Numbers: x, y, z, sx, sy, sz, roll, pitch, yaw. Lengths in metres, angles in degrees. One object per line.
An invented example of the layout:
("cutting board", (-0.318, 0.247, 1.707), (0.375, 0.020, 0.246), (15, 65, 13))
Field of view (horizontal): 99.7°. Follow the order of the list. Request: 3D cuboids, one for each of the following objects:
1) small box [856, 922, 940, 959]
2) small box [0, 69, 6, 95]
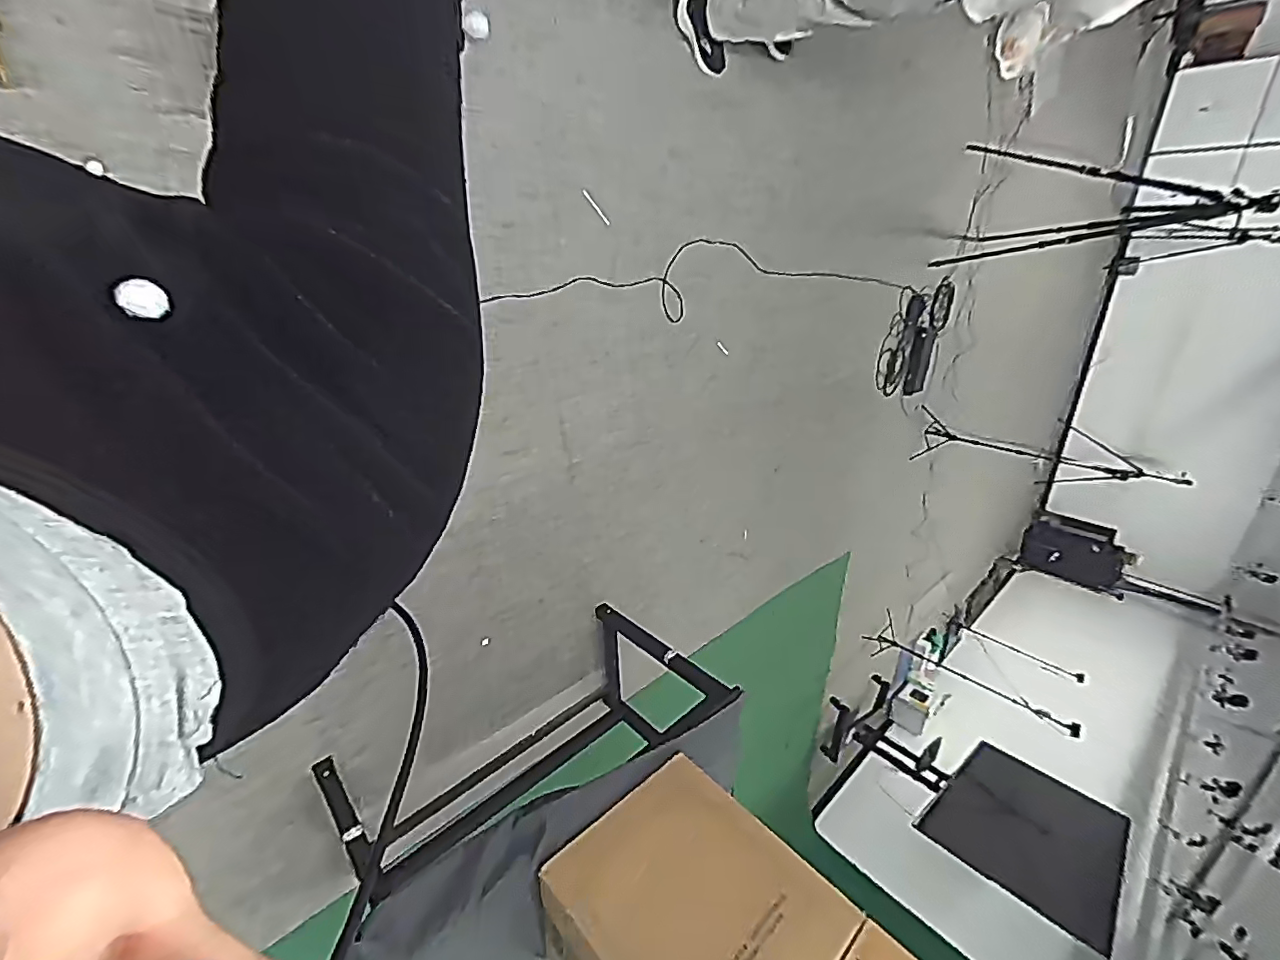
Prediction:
("small box", (0.577, 1.157, 1.217), (0.168, 0.176, 0.179), (-20, 120, -40))
("small box", (-1.106, -0.705, 0.808), (0.168, 0.176, 0.179), (-17, 117, -40))
